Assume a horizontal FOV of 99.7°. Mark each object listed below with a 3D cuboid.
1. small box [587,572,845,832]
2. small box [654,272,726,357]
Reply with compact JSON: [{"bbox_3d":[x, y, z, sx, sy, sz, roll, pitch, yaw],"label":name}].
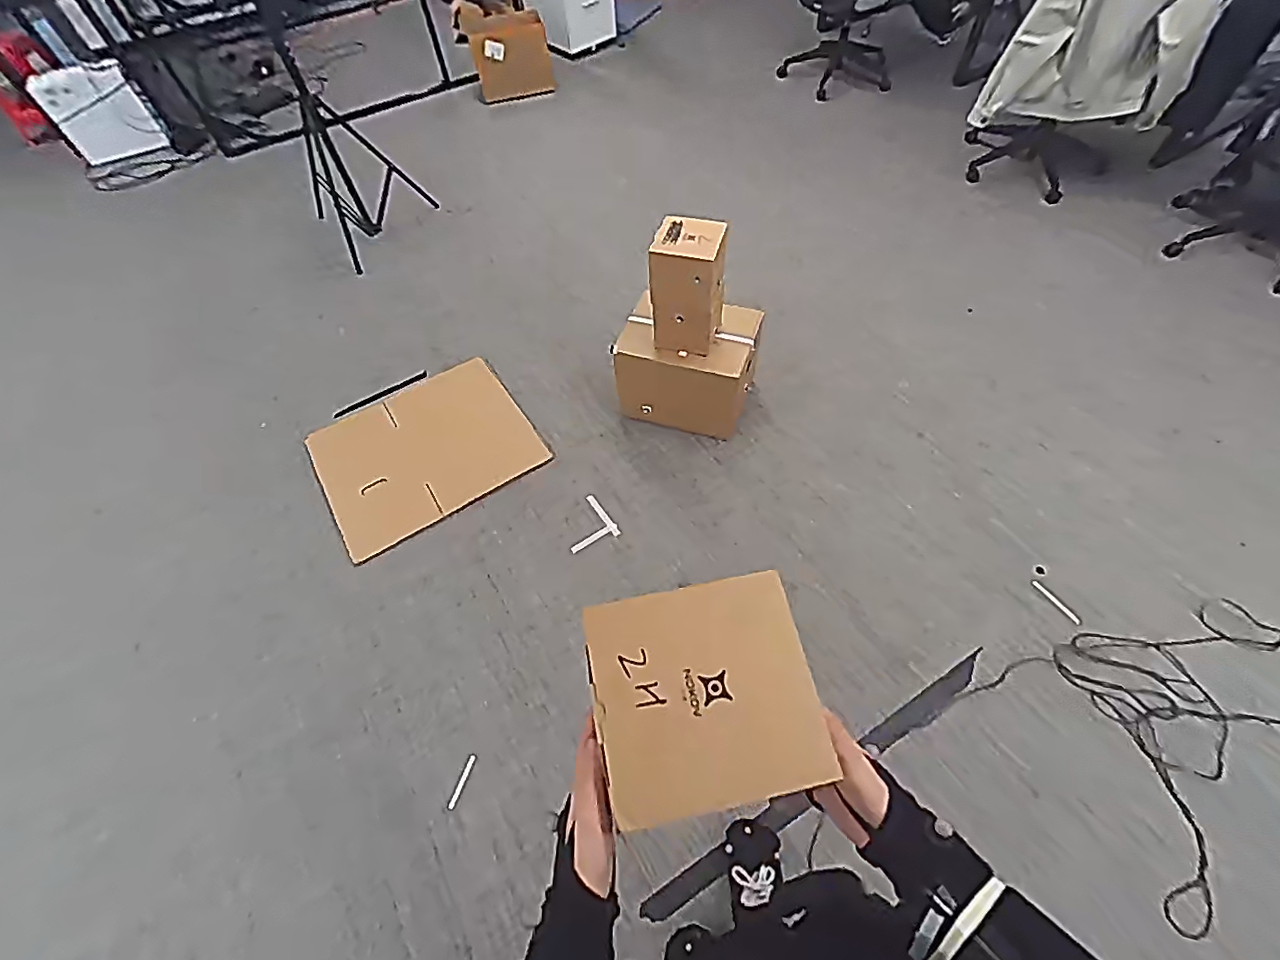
[{"bbox_3d":[0.052,0.198,0.497,0.179,0.176,0.168,-10,65,-6],"label":"small box"},{"bbox_3d":[0.148,-0.492,1.617,0.179,0.176,0.168,14,60,12],"label":"small box"}]
